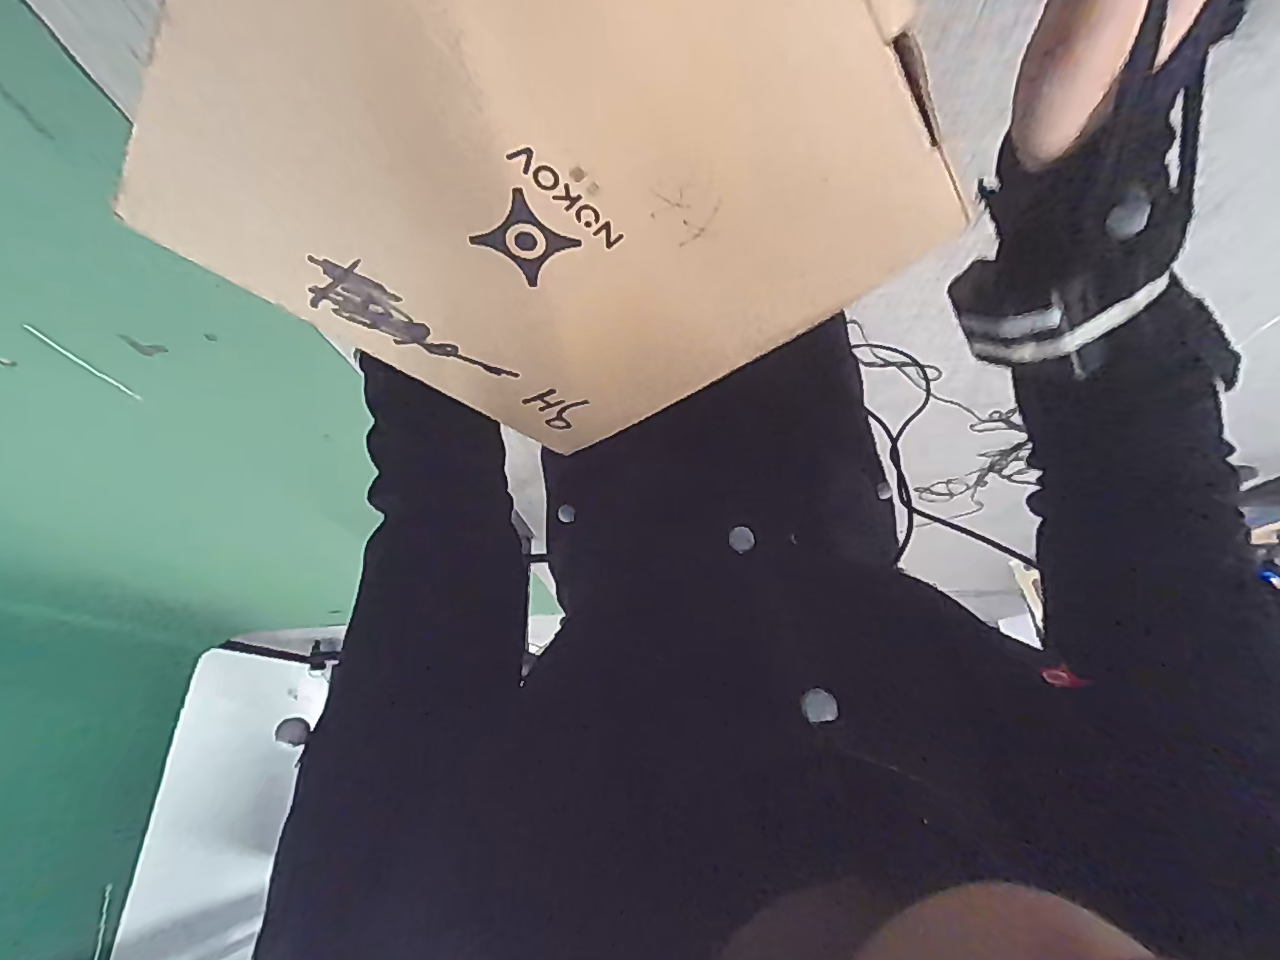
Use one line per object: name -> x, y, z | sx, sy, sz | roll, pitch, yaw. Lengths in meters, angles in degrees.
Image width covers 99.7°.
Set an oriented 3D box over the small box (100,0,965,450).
small box -> -0.027, -0.142, 0.187 | 0.179, 0.176, 0.168 | -24, 142, 35
